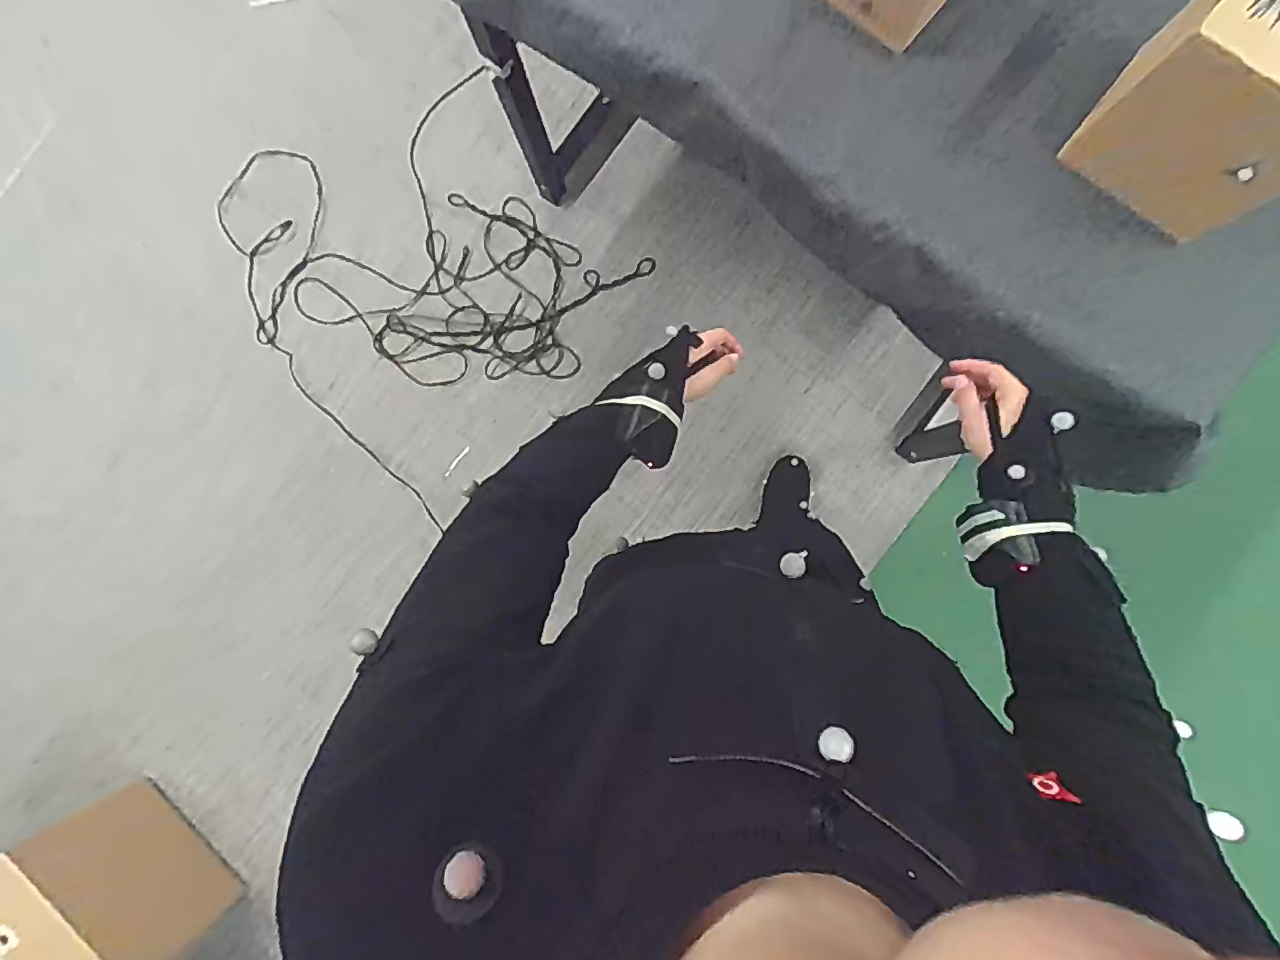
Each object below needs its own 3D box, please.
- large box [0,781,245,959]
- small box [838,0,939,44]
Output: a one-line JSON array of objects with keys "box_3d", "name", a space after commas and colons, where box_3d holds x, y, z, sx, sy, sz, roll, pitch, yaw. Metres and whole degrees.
[{"box_3d": [-1.253, 1.012, 1.247, 0.408, 0.320, 0.320, 42, 90, 6], "name": "large box"}, {"box_3d": [0.293, -0.626, 0.566, 0.168, 0.176, 0.179, 41, 89, 3], "name": "small box"}]
